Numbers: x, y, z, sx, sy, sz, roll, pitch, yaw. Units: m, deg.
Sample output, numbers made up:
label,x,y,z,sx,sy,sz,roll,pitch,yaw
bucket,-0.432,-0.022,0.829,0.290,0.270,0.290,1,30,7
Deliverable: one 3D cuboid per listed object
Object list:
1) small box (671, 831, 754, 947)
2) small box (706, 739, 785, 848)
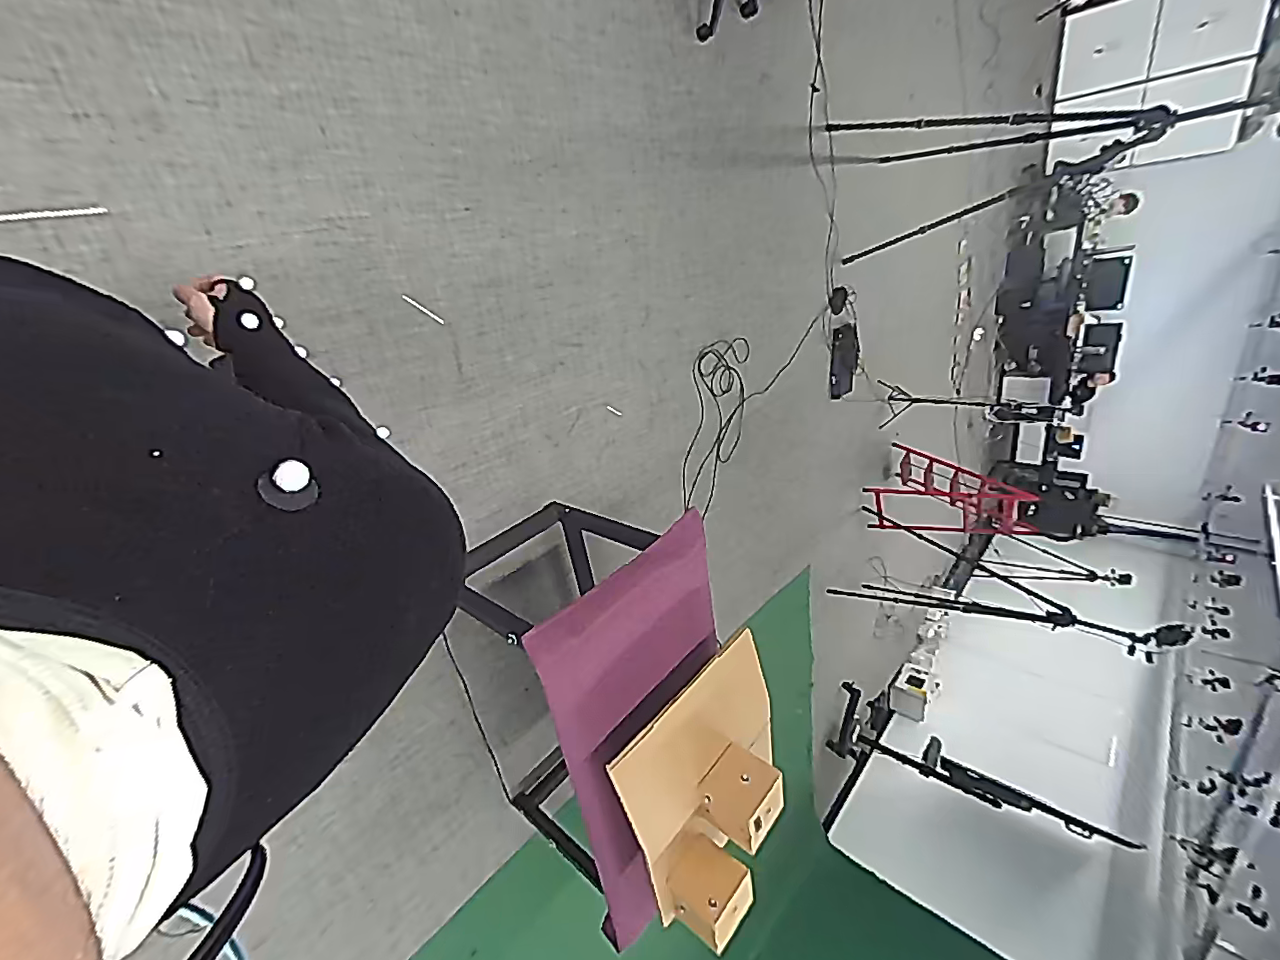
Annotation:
label,x,y,z,sx,sy,sz,roll,pitch,yaw
small box,0.211,1.172,1.564,0.179,0.176,0.168,-33,125,-37
small box,0.303,0.907,1.578,0.179,0.176,0.168,-34,126,-38
